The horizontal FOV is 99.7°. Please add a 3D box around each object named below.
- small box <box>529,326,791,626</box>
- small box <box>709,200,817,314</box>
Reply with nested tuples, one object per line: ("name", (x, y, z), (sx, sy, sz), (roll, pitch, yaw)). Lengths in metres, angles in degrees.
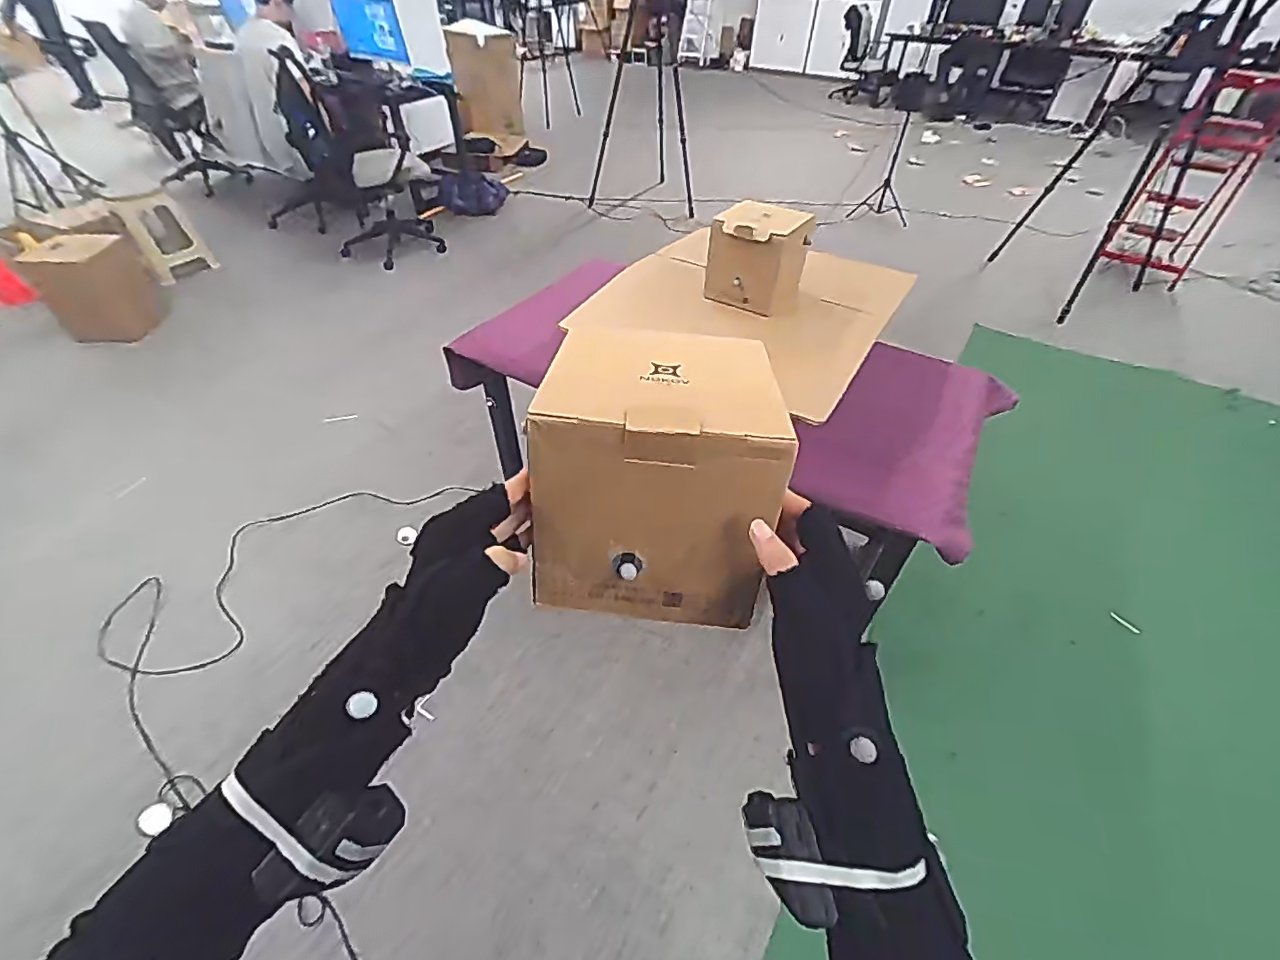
("small box", (0.010, -0.010, 0.441), (0.168, 0.176, 0.179), (5, 34, 0))
("small box", (0.264, -0.494, 1.194), (0.168, 0.176, 0.179), (26, 49, 23))
